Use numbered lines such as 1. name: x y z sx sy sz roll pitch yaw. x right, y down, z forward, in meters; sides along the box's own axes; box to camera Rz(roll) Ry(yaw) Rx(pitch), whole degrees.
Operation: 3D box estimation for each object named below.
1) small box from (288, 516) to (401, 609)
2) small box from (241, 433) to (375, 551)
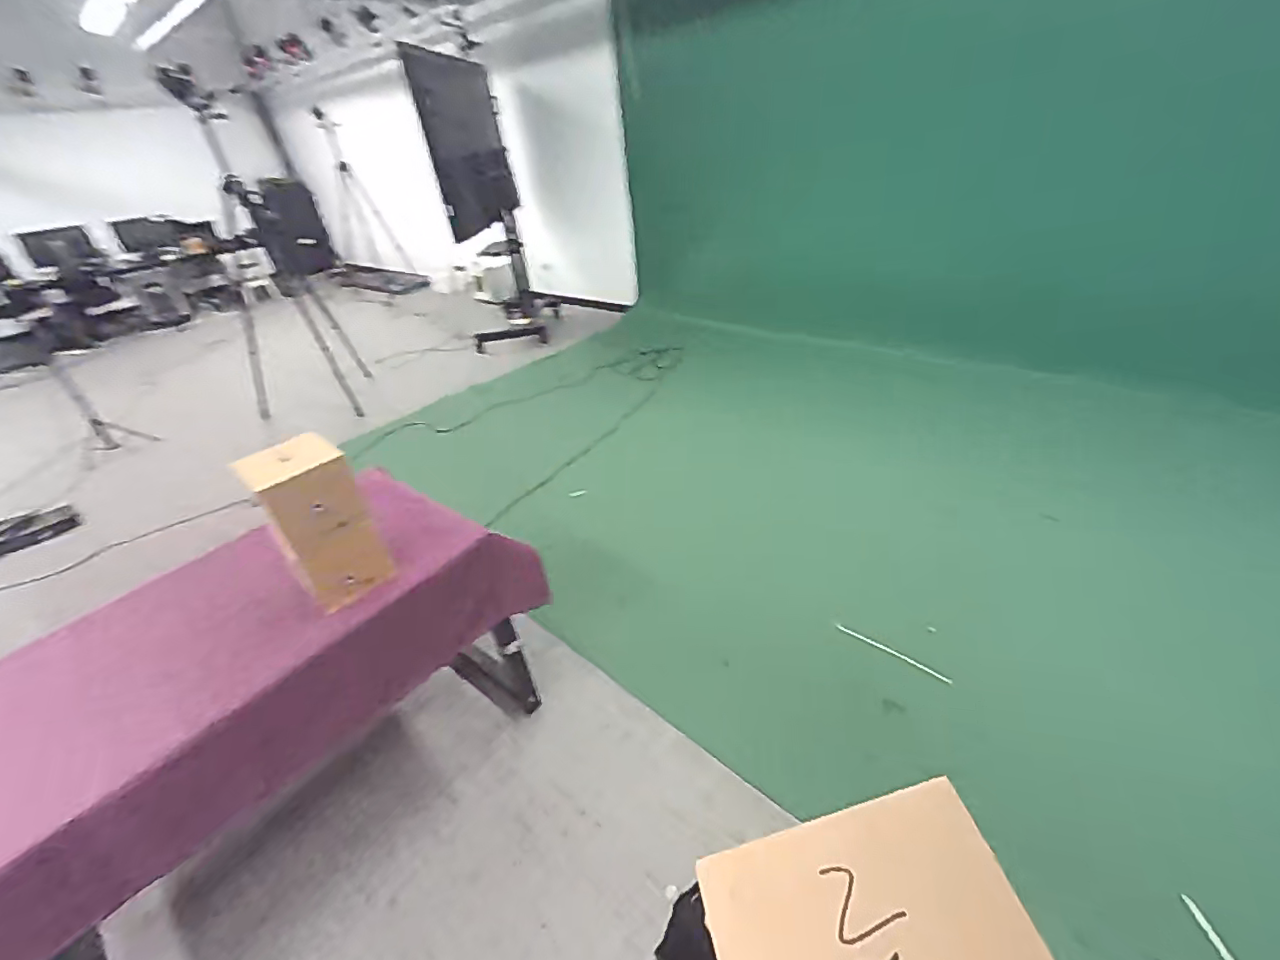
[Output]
1. small box: -0.684 0.164 1.243 0.179 0.176 0.168 25 45 38
2. small box: -0.701 0.027 1.153 0.179 0.176 0.168 23 43 38
